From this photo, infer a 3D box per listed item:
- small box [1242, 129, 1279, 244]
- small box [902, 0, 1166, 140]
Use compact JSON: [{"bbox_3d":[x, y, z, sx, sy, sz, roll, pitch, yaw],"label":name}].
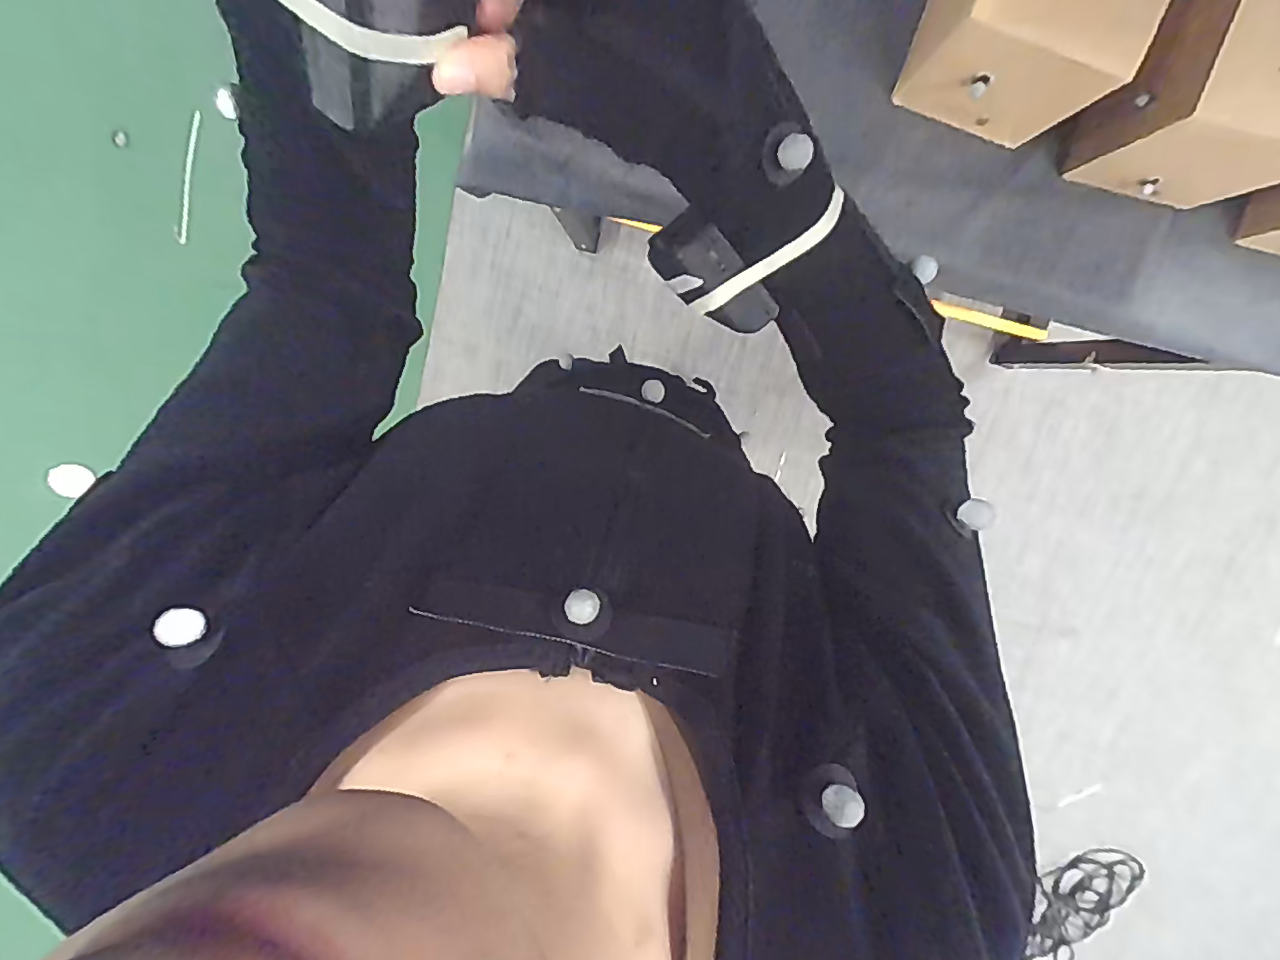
[{"bbox_3d":[0.827,-0.346,0.576,0.168,0.176,0.179,13,101,-2],"label":"small box"},{"bbox_3d":[0.403,-0.490,0.556,0.168,0.176,0.179,18,101,-3],"label":"small box"}]
